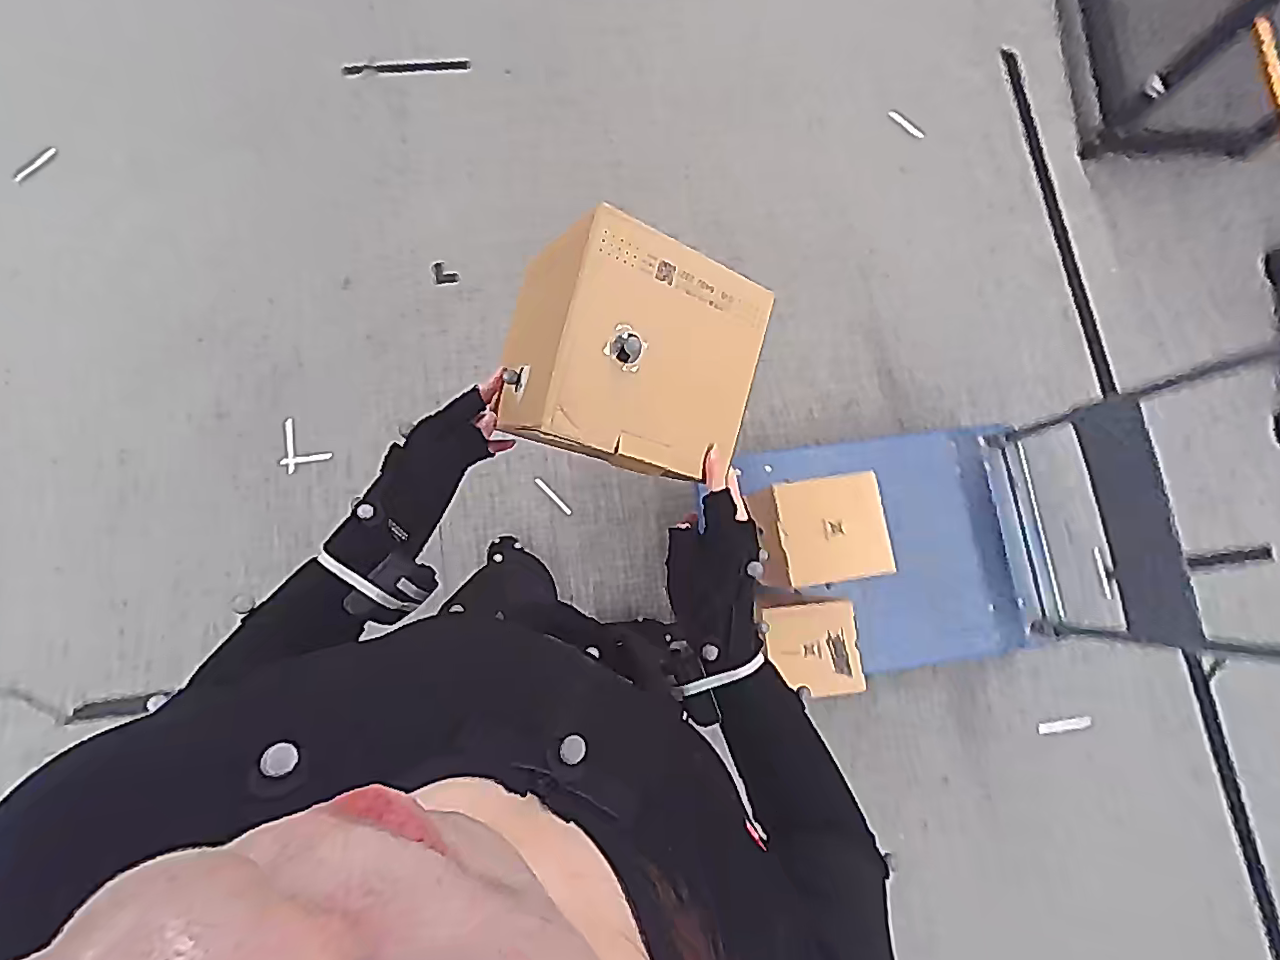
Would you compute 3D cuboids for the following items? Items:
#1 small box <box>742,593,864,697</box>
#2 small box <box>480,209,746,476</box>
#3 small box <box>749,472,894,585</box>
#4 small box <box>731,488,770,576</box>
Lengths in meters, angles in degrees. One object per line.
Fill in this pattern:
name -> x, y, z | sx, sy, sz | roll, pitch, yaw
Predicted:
small box -> 0.315, 0.320, 1.076 | 0.179, 0.176, 0.168 | -5, 81, -3
small box -> -0.026, -0.108, 0.479 | 0.168, 0.179, 0.176 | 14, 90, -29
small box -> 0.306, 0.086, 0.946 | 0.179, 0.176, 0.168 | -8, 82, -4
small box -> 0.293, 0.102, 1.108 | 0.179, 0.176, 0.168 | -10, 83, -4
